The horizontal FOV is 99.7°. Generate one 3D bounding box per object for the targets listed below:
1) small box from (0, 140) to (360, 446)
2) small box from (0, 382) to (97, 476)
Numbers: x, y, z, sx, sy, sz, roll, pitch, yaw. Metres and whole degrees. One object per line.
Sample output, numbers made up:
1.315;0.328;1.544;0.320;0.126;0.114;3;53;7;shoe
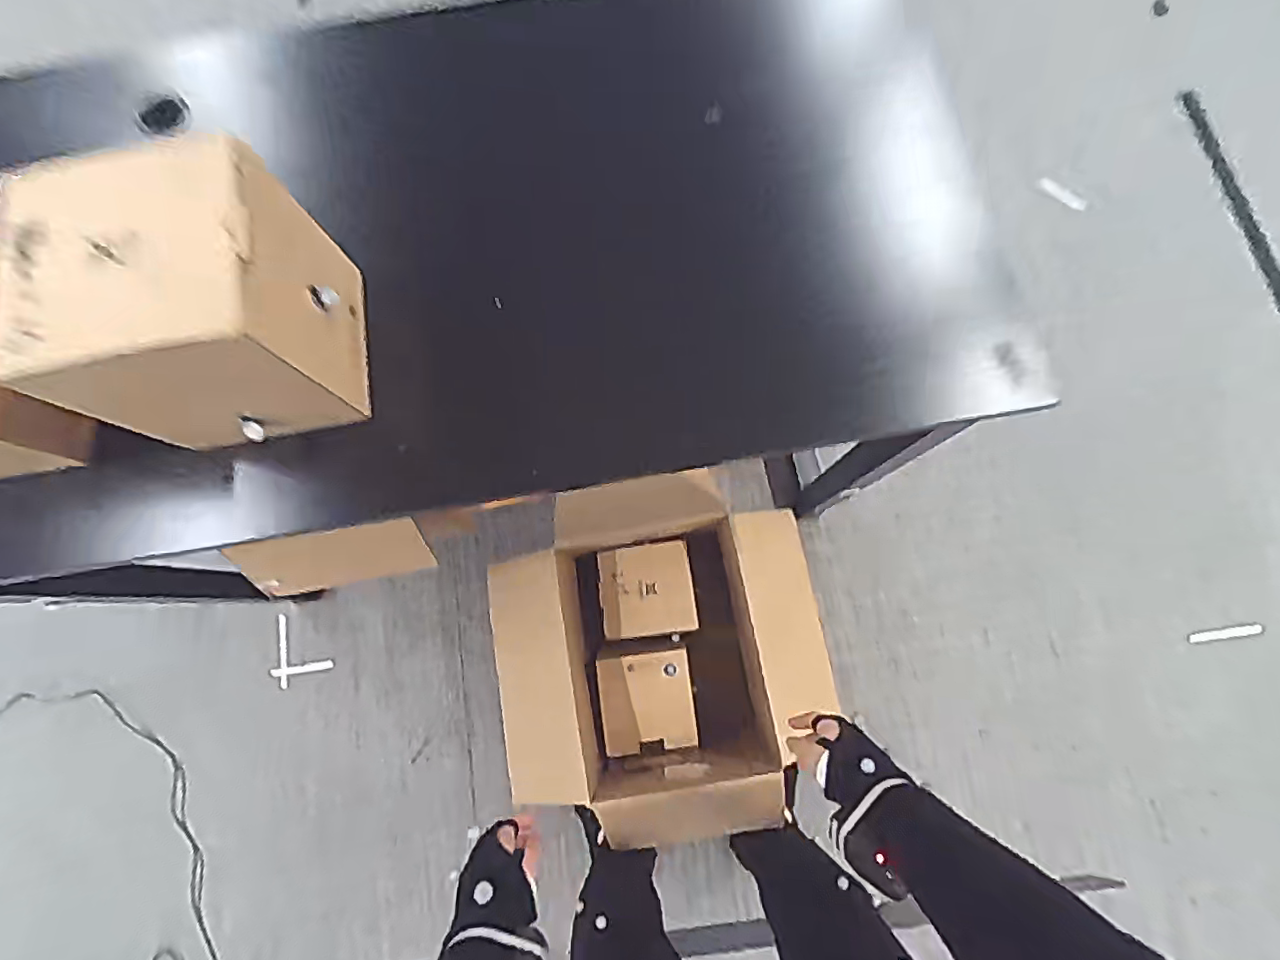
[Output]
-0.358;-0.140;0.455;0.179;0.176;0.168;-11;76;-1;small box
-0.618;-0.098;0.453;0.179;0.176;0.168;-7;77;-1;small box
